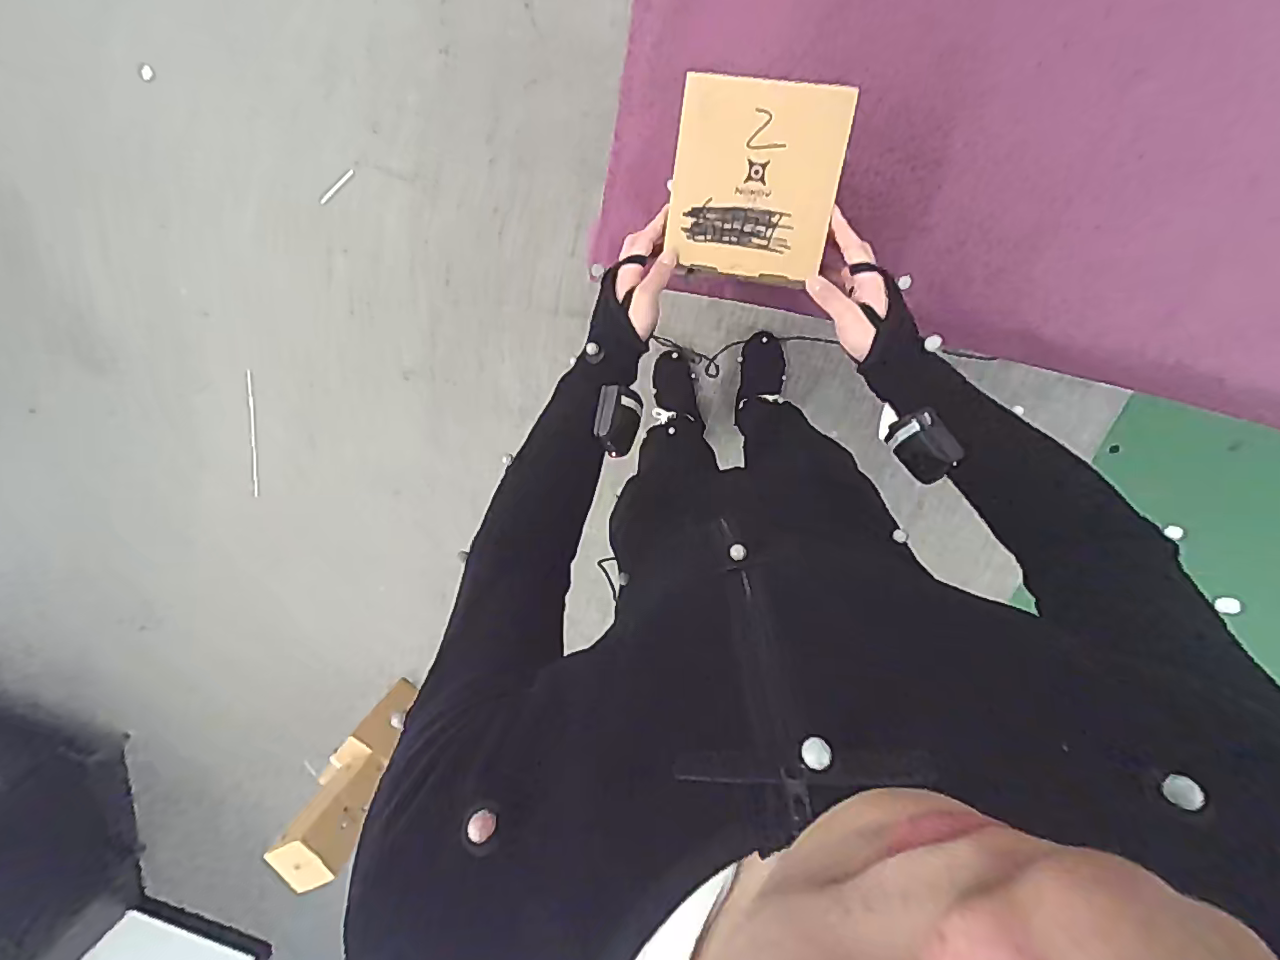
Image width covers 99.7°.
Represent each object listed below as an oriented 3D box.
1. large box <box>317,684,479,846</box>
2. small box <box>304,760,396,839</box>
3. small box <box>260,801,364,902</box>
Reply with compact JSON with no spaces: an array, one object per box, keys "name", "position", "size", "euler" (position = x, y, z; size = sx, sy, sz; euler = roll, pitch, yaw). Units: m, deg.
[{"name":"large box","position":[-0.906,1.070,2.056],"size":[0.408,0.320,0.320],"euler":[37,112,-4]},{"name":"small box","position":[-0.962,1.080,1.808],"size":[0.179,0.176,0.168],"euler":[-30,101,18]},{"name":"small box","position":[-0.994,1.129,1.652],"size":[0.179,0.176,0.168],"euler":[-31,101,17]}]
